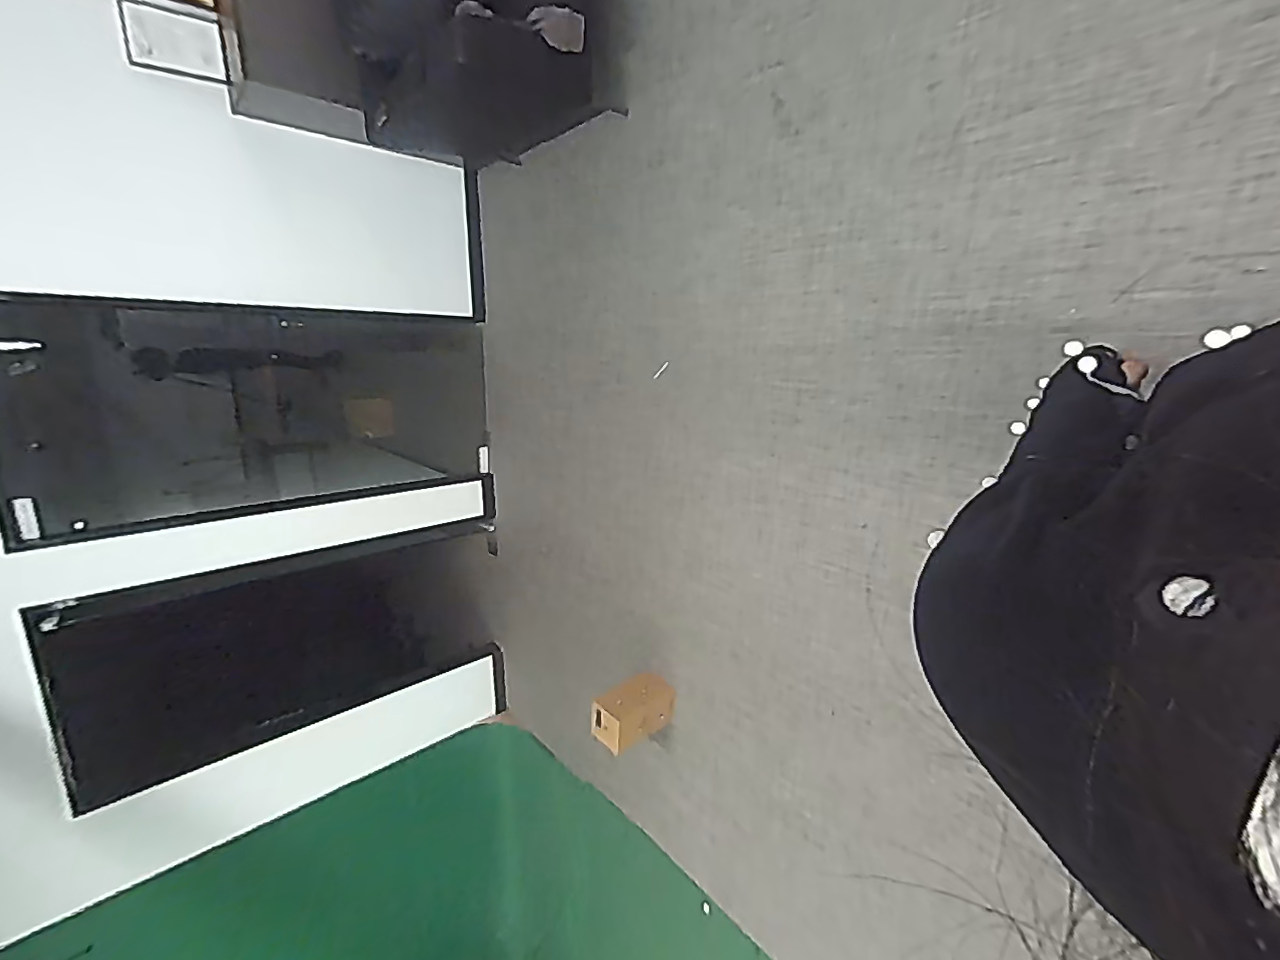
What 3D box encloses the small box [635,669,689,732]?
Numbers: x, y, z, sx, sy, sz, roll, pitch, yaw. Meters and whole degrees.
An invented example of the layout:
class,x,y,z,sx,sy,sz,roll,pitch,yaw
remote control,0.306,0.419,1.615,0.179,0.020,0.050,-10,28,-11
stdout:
class,x,y,z,sx,sy,sz,roll,pitch,yaw
small box,0.098,0.972,2.402,0.179,0.176,0.168,23,116,44
